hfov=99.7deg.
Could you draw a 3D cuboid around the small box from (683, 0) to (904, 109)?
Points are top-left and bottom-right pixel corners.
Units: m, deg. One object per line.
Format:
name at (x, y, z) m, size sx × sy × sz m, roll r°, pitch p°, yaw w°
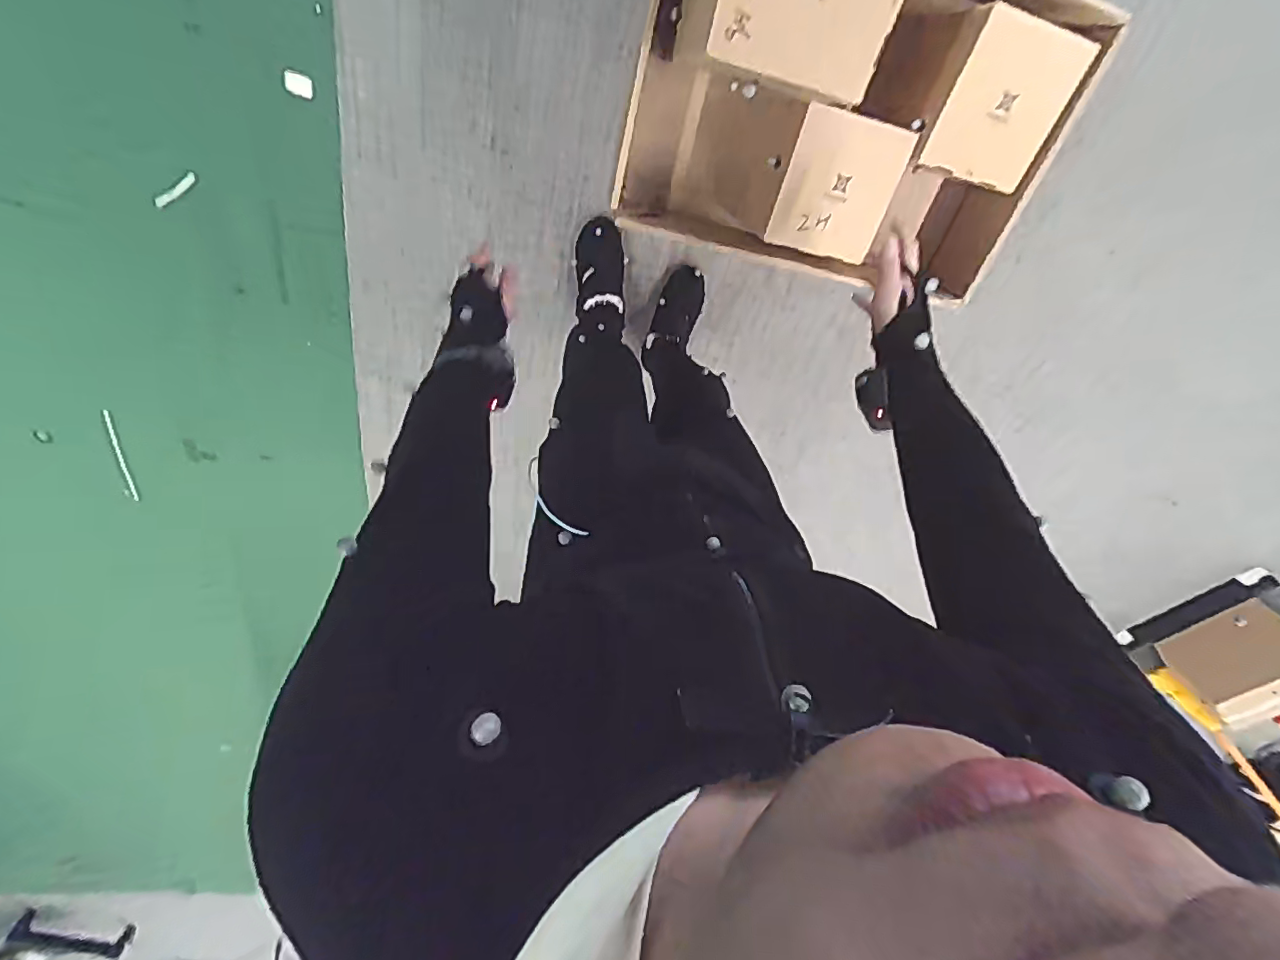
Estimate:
small box at (0.159, -0.513, 0.564) m, size 0.179 × 0.176 × 0.168 m, roll 8°, pitch 125°, yaw -13°
